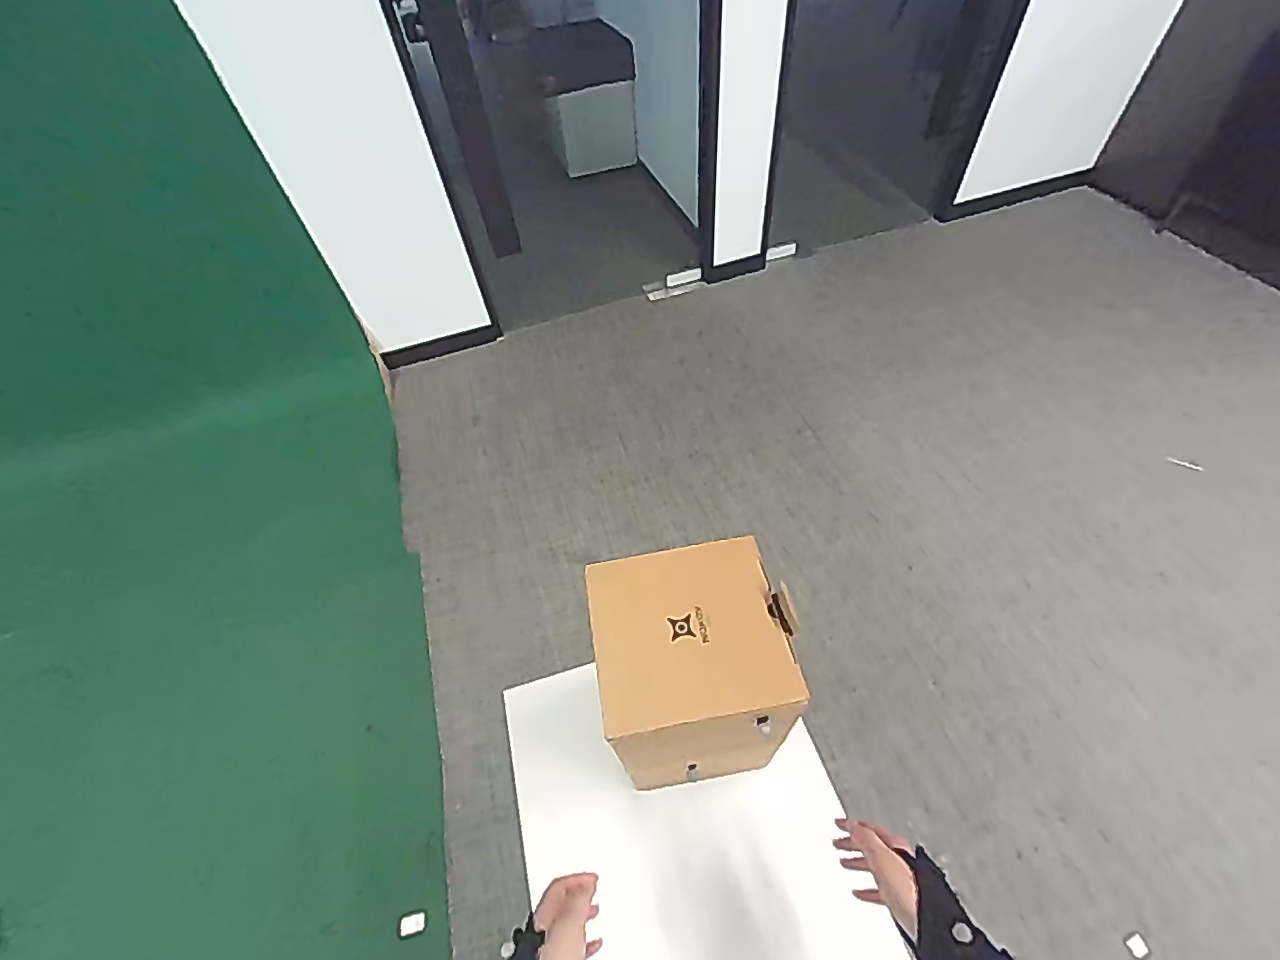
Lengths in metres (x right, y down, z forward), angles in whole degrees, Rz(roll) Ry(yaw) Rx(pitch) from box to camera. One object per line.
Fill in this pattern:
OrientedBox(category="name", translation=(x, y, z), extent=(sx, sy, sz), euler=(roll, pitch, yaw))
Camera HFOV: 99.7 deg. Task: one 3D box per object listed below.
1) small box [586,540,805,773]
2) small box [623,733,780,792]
OrientedBox(category="small box", translation=(0.049, 0.187, 0.559), extent=(0.179, 0.176, 0.168), euler=(-10, 52, -3))
OrientedBox(category="small box", translation=(0.064, 0.283, 0.689), extent=(0.179, 0.176, 0.168), euler=(-10, 52, -2))
